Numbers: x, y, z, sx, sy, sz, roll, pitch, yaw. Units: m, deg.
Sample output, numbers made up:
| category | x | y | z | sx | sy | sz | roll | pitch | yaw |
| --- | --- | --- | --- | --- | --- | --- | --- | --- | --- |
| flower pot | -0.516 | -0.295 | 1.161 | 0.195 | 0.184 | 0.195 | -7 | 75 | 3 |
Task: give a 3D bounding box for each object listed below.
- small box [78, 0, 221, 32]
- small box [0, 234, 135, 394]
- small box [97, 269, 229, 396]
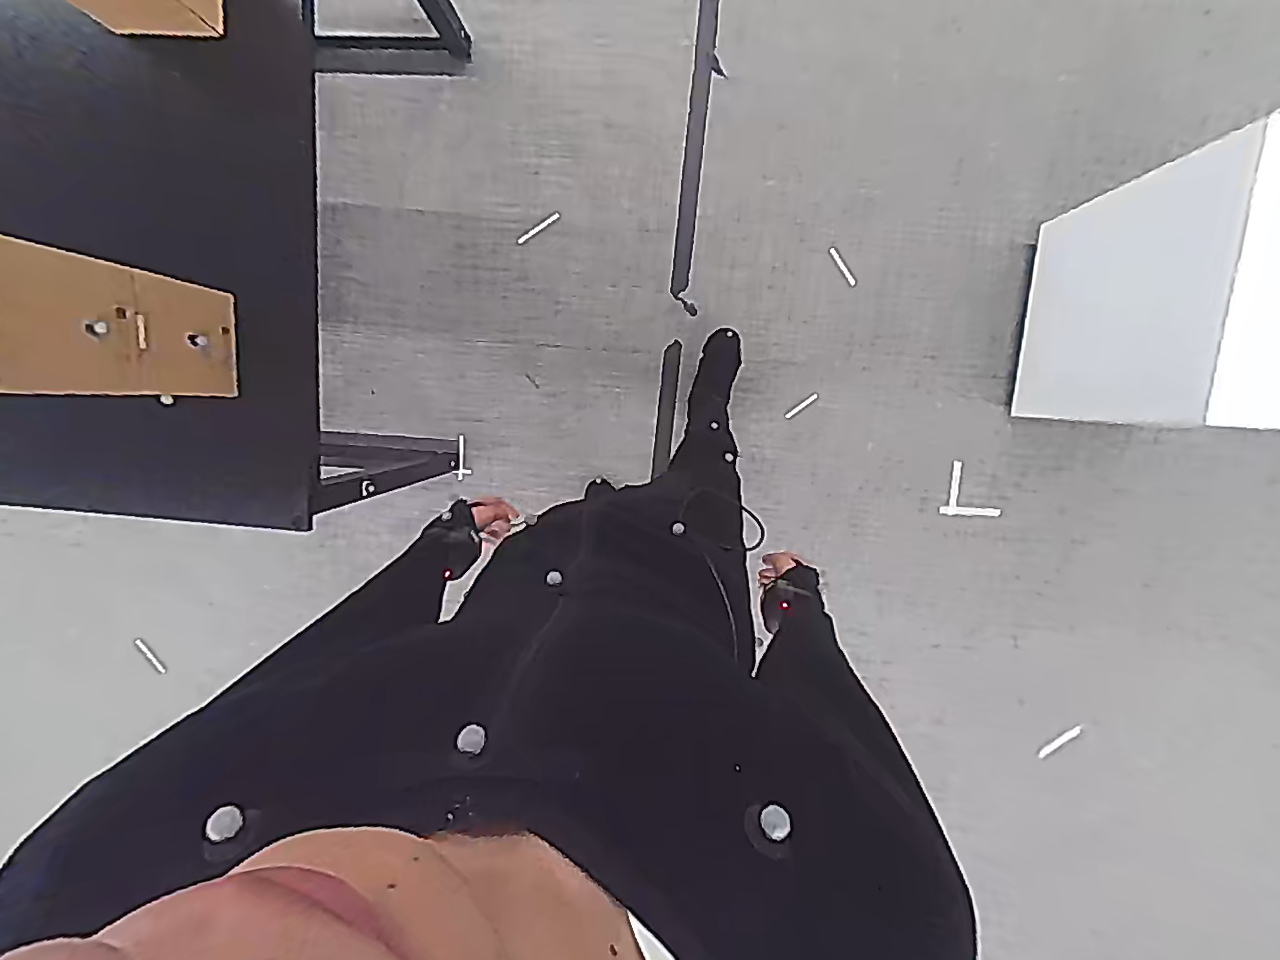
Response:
| category | x | y | z | sx | sy | sz | roll | pitch | yaw |
| --- | --- | --- | --- | --- | --- | --- | --- | --- | --- |
| small box | -0.709 | -0.742 | 0.719 | 0.179 | 0.176 | 0.168 | 4 | 98 | 2 |
| small box | -0.754 | -0.189 | 0.630 | 0.179 | 0.176 | 0.168 | 4 | 99 | 2 |
| small box | -0.744 | -0.211 | 0.793 | 0.179 | 0.176 | 0.168 | 3 | 98 | 2 |
